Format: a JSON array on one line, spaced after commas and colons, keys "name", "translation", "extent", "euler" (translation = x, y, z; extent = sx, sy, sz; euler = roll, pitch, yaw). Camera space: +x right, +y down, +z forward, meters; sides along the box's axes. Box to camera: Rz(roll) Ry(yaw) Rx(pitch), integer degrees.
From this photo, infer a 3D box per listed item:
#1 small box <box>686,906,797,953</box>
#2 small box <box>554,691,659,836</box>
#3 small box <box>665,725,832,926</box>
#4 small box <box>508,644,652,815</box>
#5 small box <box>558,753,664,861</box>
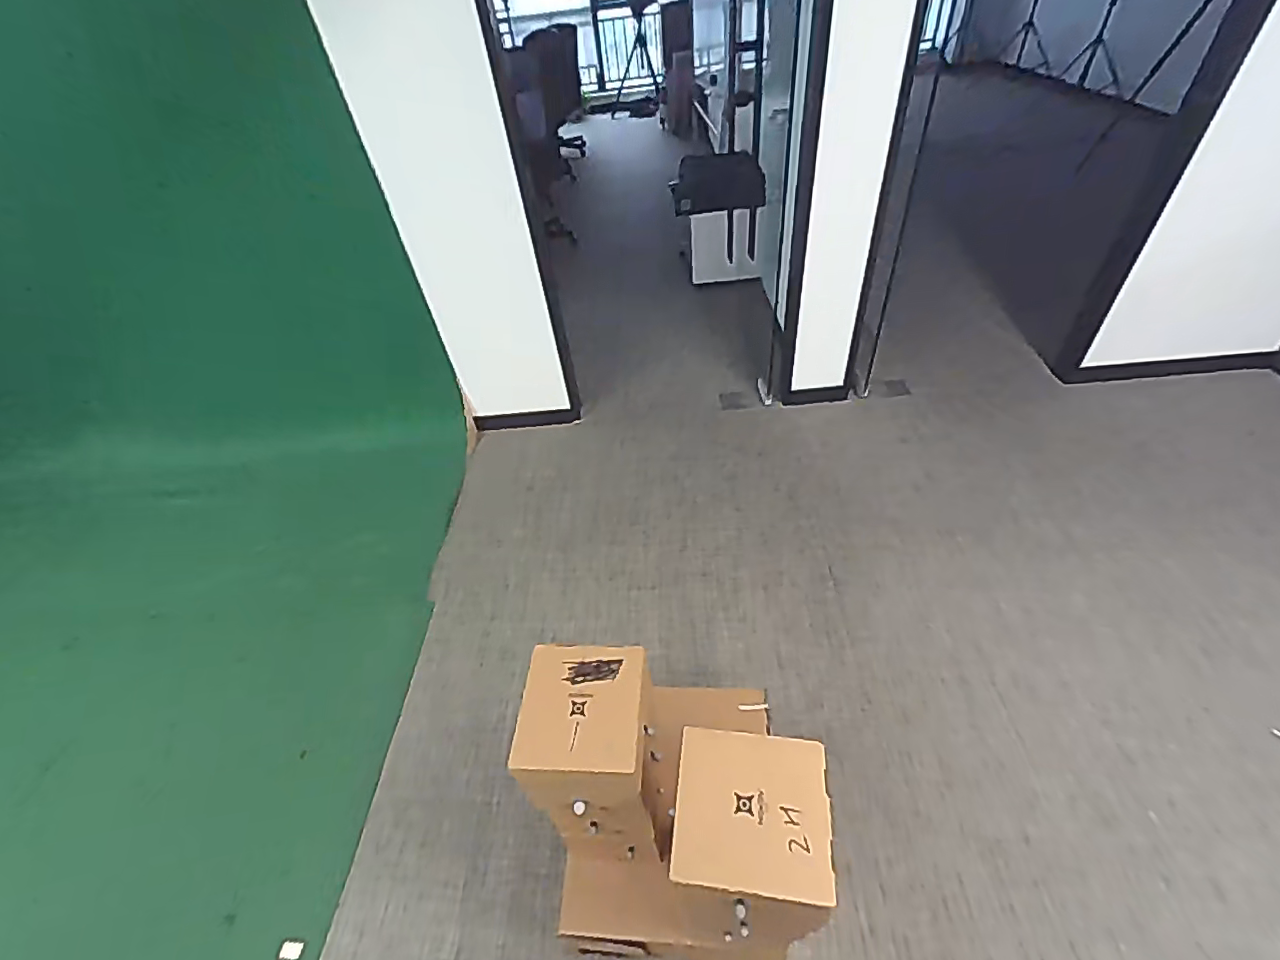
[{"name": "small box", "translation": [0.165, 0.661, 0.911], "extent": [0.168, 0.176, 0.179], "euler": [0, 42, 8]}, {"name": "small box", "translation": [-0.057, 0.473, 0.910], "extent": [0.168, 0.176, 0.179], "euler": [-1, 44, 7]}, {"name": "small box", "translation": [0.133, 0.431, 0.675], "extent": [0.179, 0.176, 0.168], "euler": [2, 44, 10]}, {"name": "small box", "translation": [-0.074, 0.362, 0.791], "extent": [0.168, 0.176, 0.179], "euler": [-2, 43, 7]}, {"name": "small box", "translation": [-0.044, 0.595, 1.018], "extent": [0.168, 0.176, 0.179], "euler": [-2, 42, 7]}]
